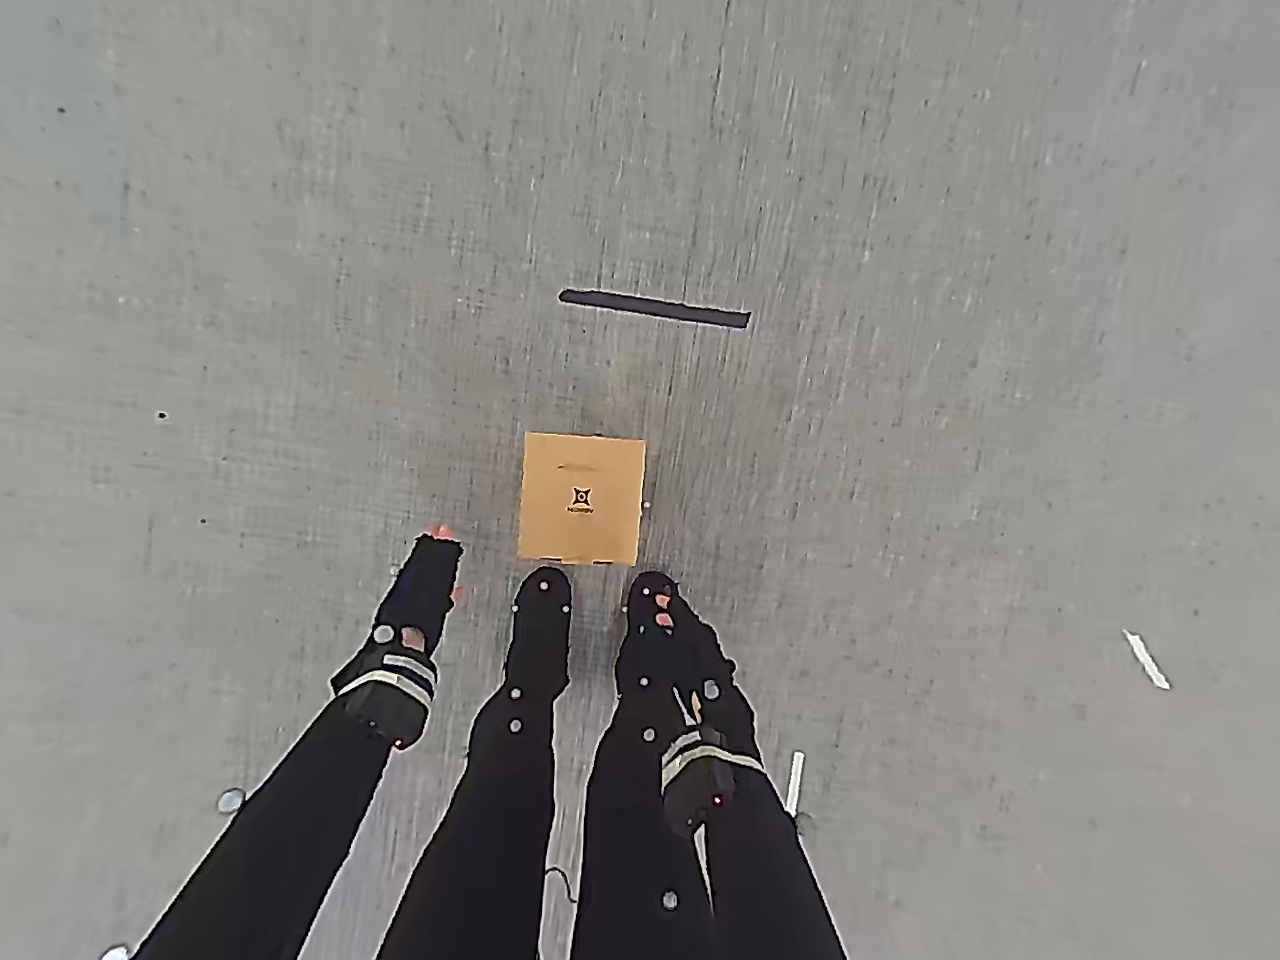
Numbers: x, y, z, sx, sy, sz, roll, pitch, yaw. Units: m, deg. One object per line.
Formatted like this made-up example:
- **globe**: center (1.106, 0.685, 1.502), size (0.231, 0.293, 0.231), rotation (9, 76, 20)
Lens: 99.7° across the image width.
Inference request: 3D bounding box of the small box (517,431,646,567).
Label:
- **small box**: center (-0.083, 0.021, 0.810), size (0.168, 0.176, 0.179), rotation (4, 93, -4)
